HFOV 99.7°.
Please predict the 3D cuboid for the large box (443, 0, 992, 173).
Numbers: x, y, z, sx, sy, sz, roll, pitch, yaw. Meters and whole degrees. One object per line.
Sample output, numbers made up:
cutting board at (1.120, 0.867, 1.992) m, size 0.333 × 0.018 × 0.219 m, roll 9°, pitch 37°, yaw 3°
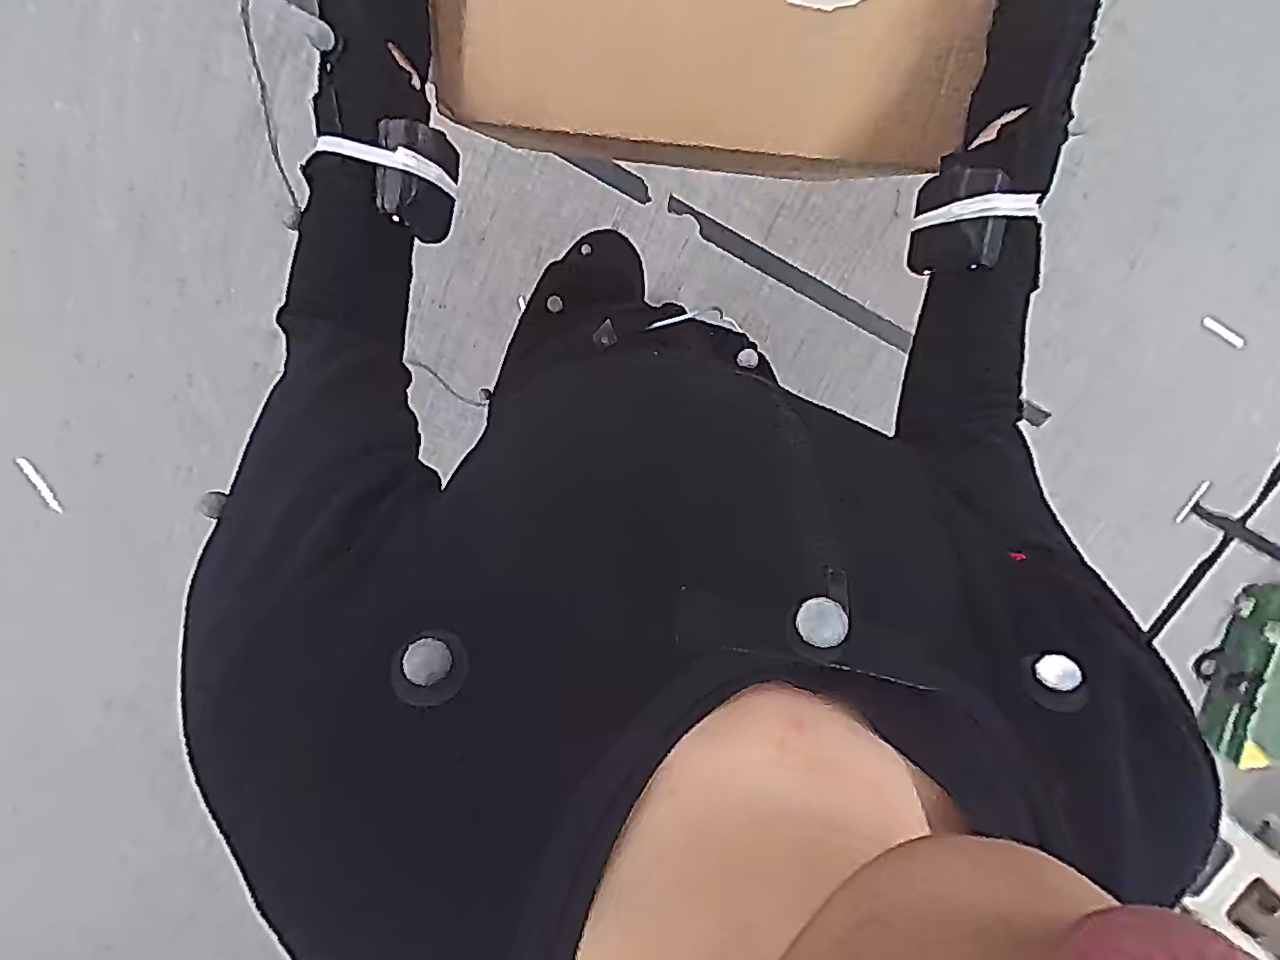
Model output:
large box at (0.054, -0.471, 0.486) m, size 0.408 × 0.320 × 0.320 m, roll 2°, pitch 118°, yaw -5°
